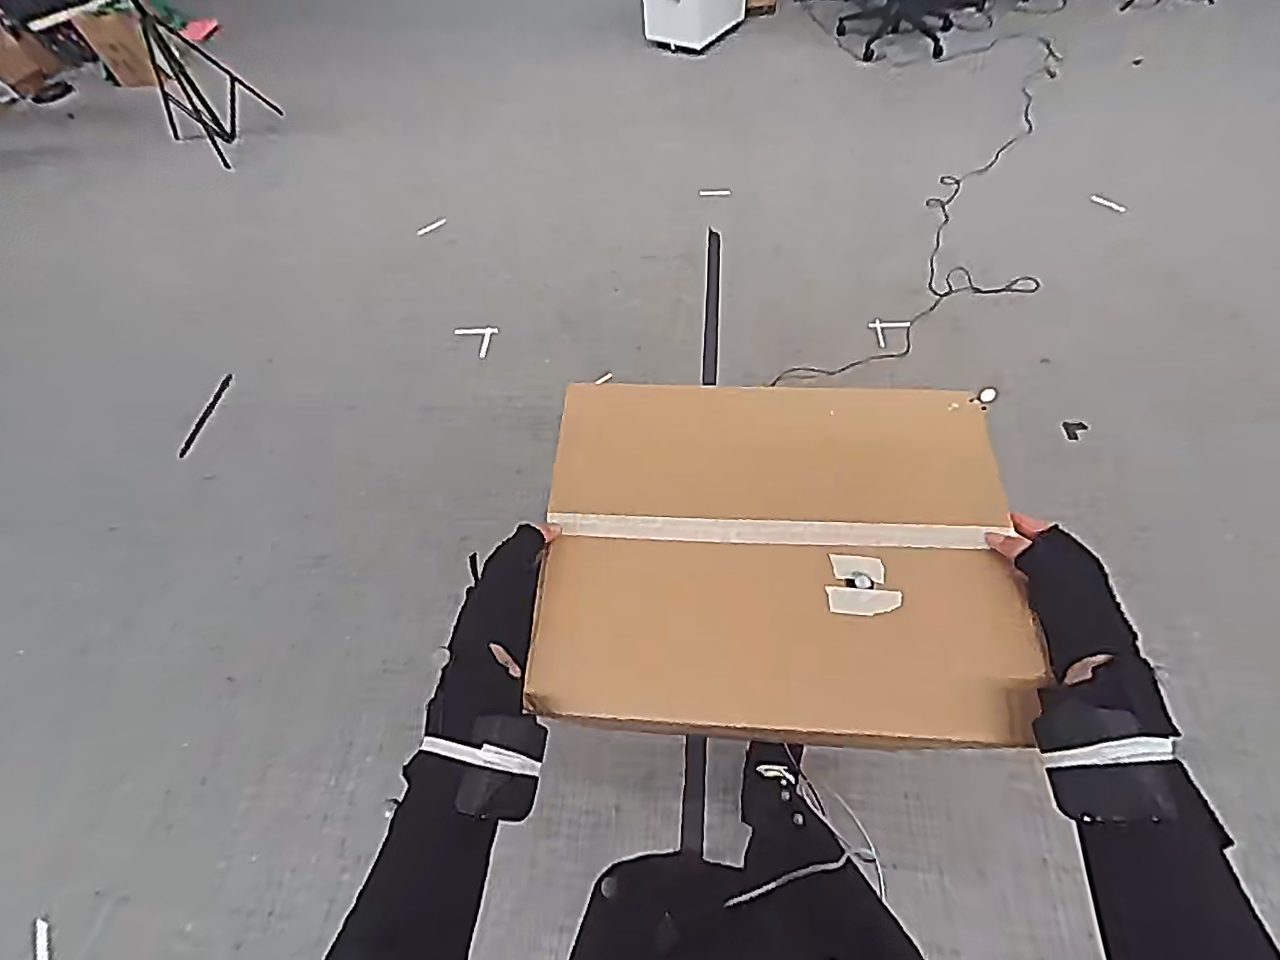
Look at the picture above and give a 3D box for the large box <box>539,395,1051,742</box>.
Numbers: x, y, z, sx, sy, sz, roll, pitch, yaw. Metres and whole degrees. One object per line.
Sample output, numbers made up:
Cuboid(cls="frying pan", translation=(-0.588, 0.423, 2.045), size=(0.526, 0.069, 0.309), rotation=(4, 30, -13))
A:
Cuboid(cls="large box", translation=(0.126, 0.119, 0.617), size=(0.408, 0.320, 0.320), rotation=(2, 64, 3))
